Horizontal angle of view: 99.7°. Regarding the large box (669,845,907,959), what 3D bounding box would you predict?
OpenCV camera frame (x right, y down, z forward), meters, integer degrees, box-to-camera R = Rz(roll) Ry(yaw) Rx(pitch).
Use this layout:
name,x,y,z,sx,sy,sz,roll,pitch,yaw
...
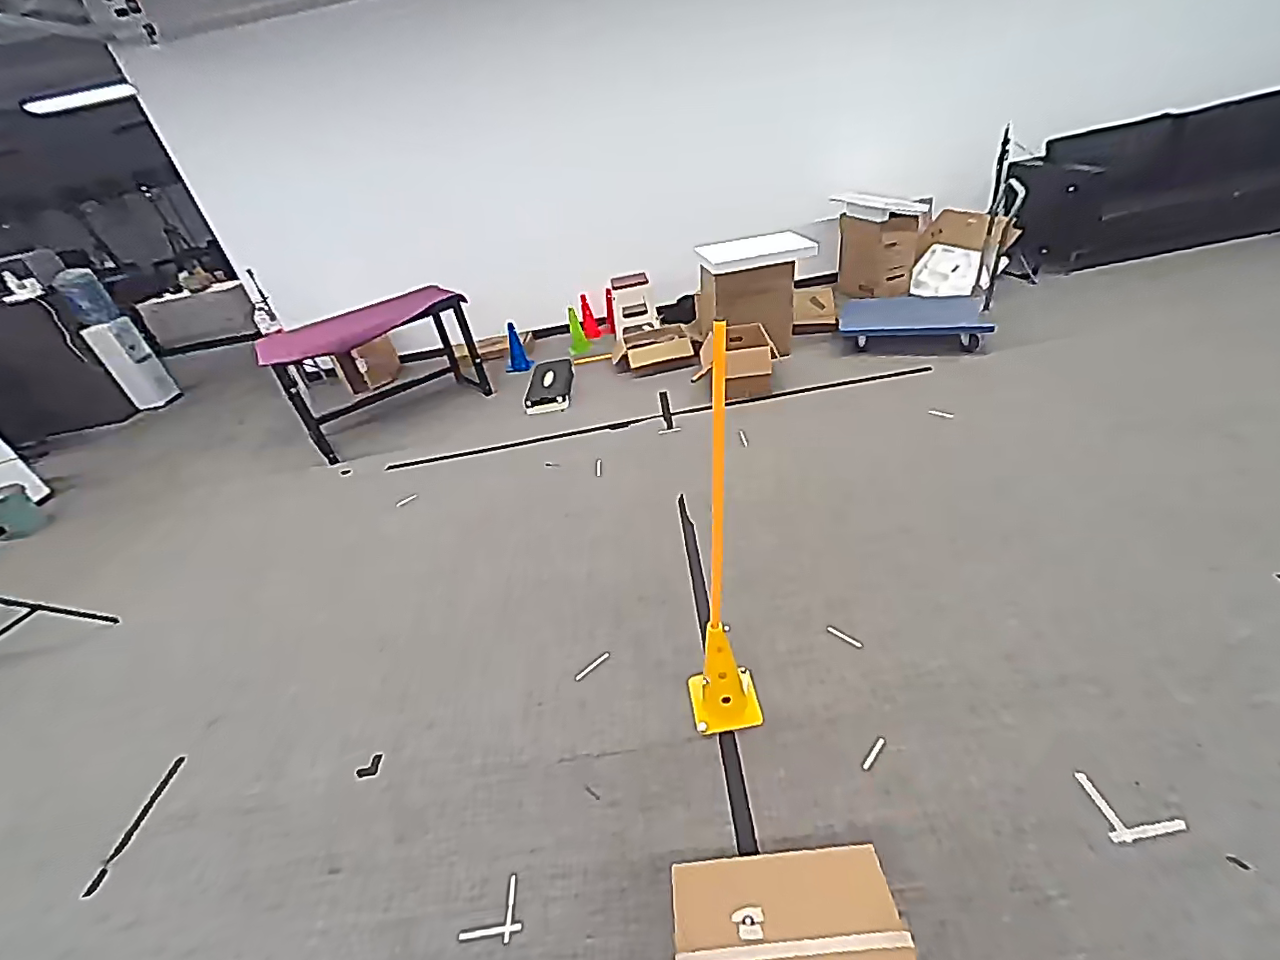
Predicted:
name,x,y,z,sx,sy,sz,roll,pitch,yaw
large box,0.285,0.961,1.031,0.408,0.320,0.320,-9,31,3
